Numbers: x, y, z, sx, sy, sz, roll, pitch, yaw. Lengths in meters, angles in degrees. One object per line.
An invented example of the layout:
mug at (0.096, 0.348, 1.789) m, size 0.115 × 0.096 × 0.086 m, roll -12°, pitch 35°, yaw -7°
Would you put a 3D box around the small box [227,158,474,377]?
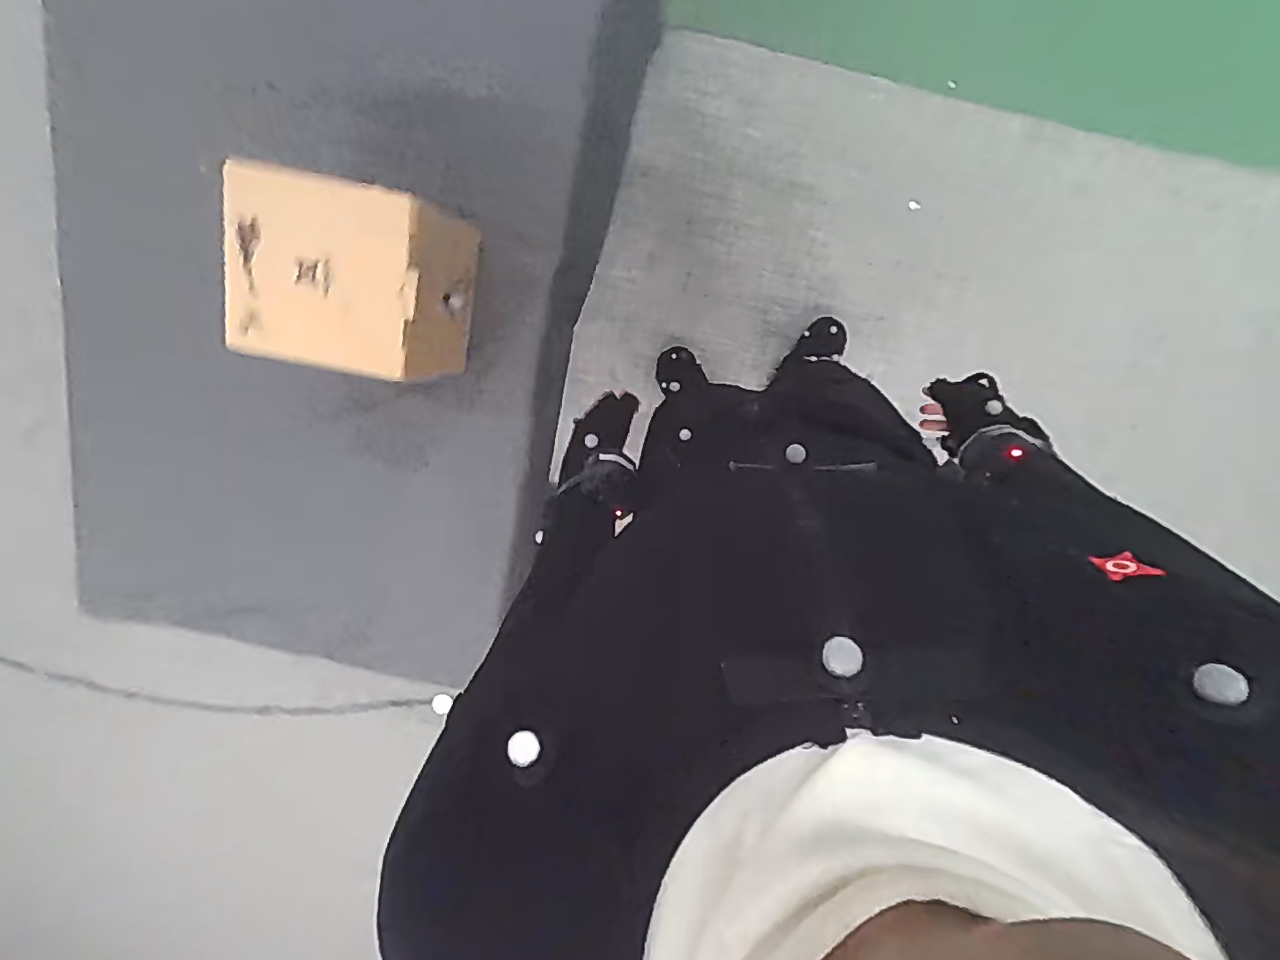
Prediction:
small box at (-0.292, -0.217, 0.579) m, size 0.179 × 0.176 × 0.168 m, roll 11°, pitch 107°, yaw -1°
